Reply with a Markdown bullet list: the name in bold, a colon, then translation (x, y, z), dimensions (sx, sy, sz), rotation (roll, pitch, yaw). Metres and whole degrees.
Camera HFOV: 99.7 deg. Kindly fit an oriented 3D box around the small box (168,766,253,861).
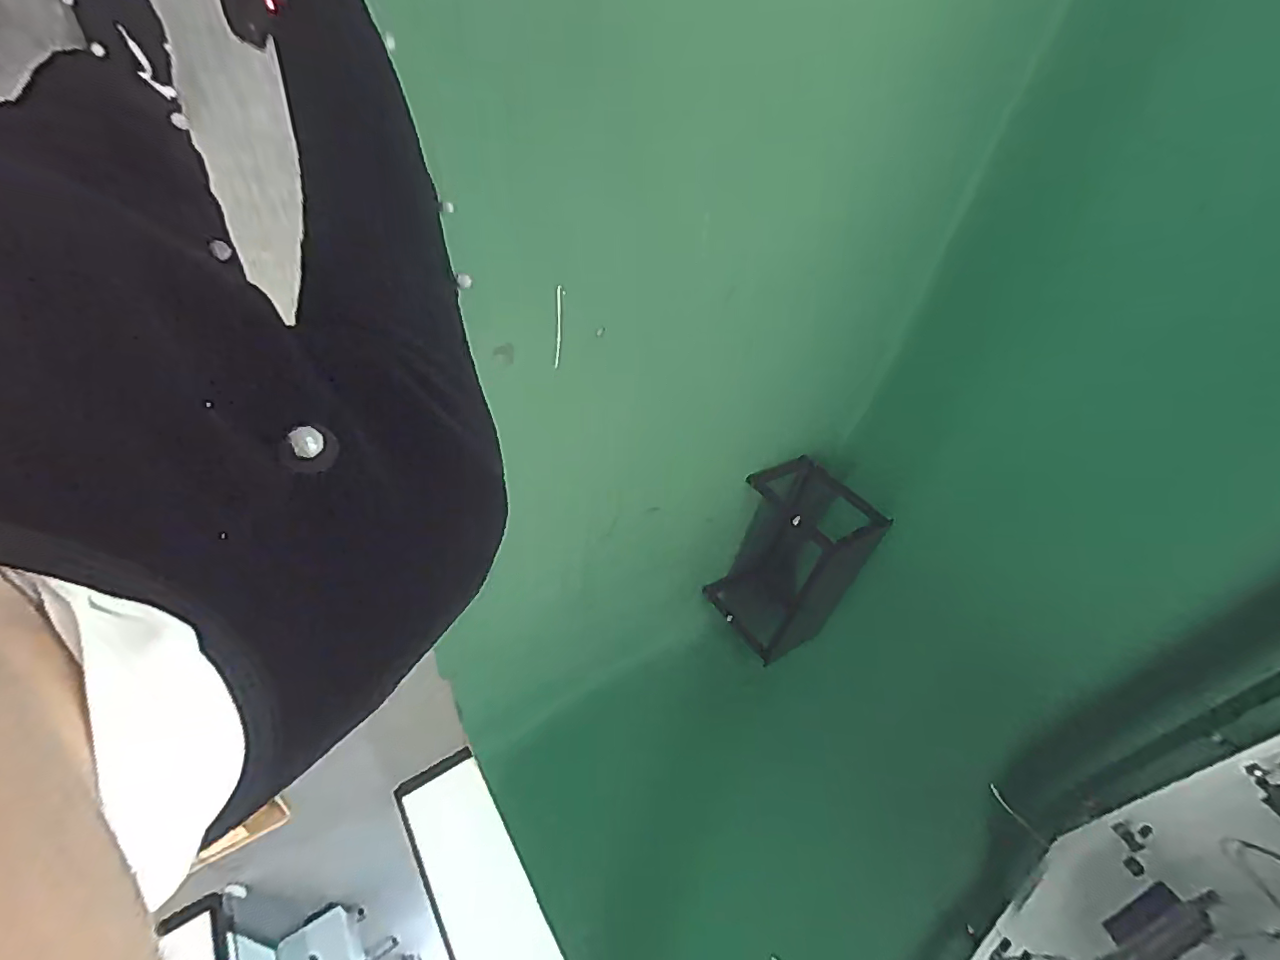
- **small box**: translation (-1.343, 1.038, 1.693), dimensions (0.168, 0.176, 0.179), rotation (-19, 138, -30)
